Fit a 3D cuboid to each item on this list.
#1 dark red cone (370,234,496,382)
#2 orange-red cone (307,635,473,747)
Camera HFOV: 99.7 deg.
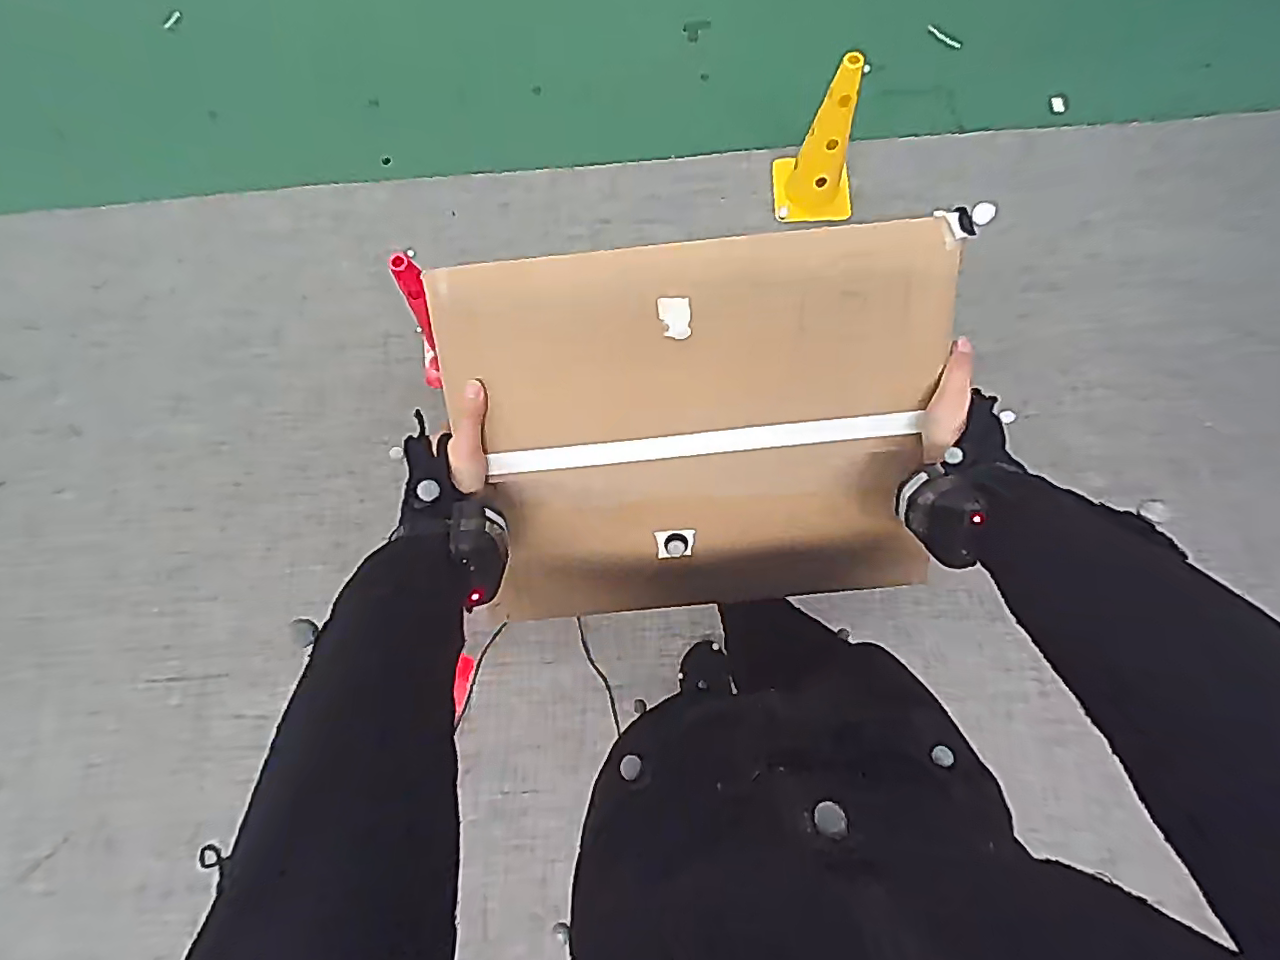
[{"bbox_3d":[-0.479,-0.398,1.217,0.202,0.394,0.201,-11,72,1],"label":"dark red cone"},{"bbox_3d":[-0.501,0.417,1.030,0.199,0.360,0.198,16,76,9],"label":"orange-red cone"}]
